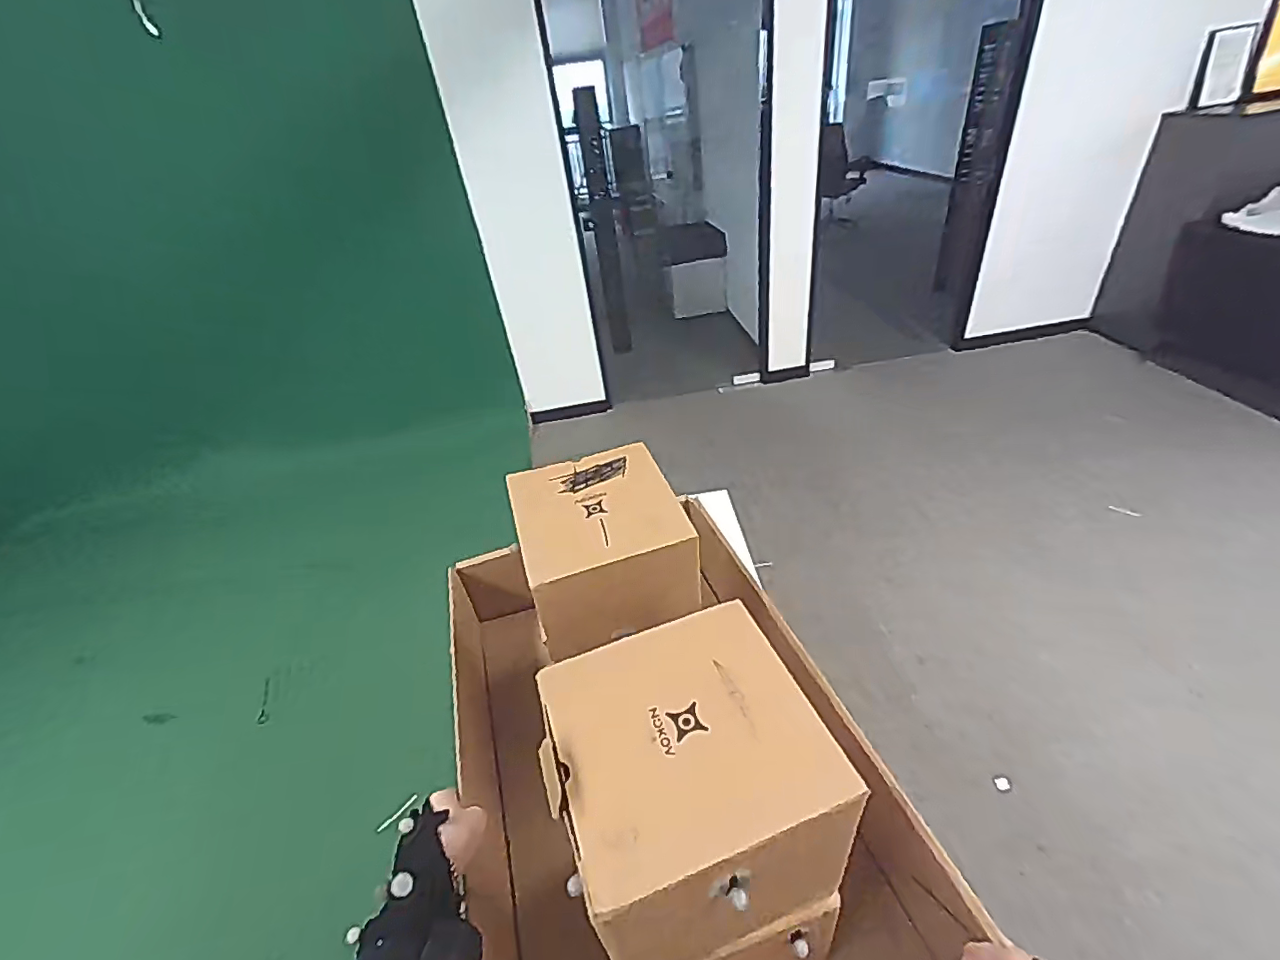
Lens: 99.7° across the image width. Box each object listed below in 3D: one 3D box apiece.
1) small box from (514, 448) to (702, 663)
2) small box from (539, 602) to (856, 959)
[{"bbox_3d":[-0.037,0.092,0.615,0.168,0.176,0.179,-15,39,-10],"label":"small box"},{"bbox_3d":[0.036,0.232,0.419,0.179,0.176,0.168,-16,37,-13],"label":"small box"}]
